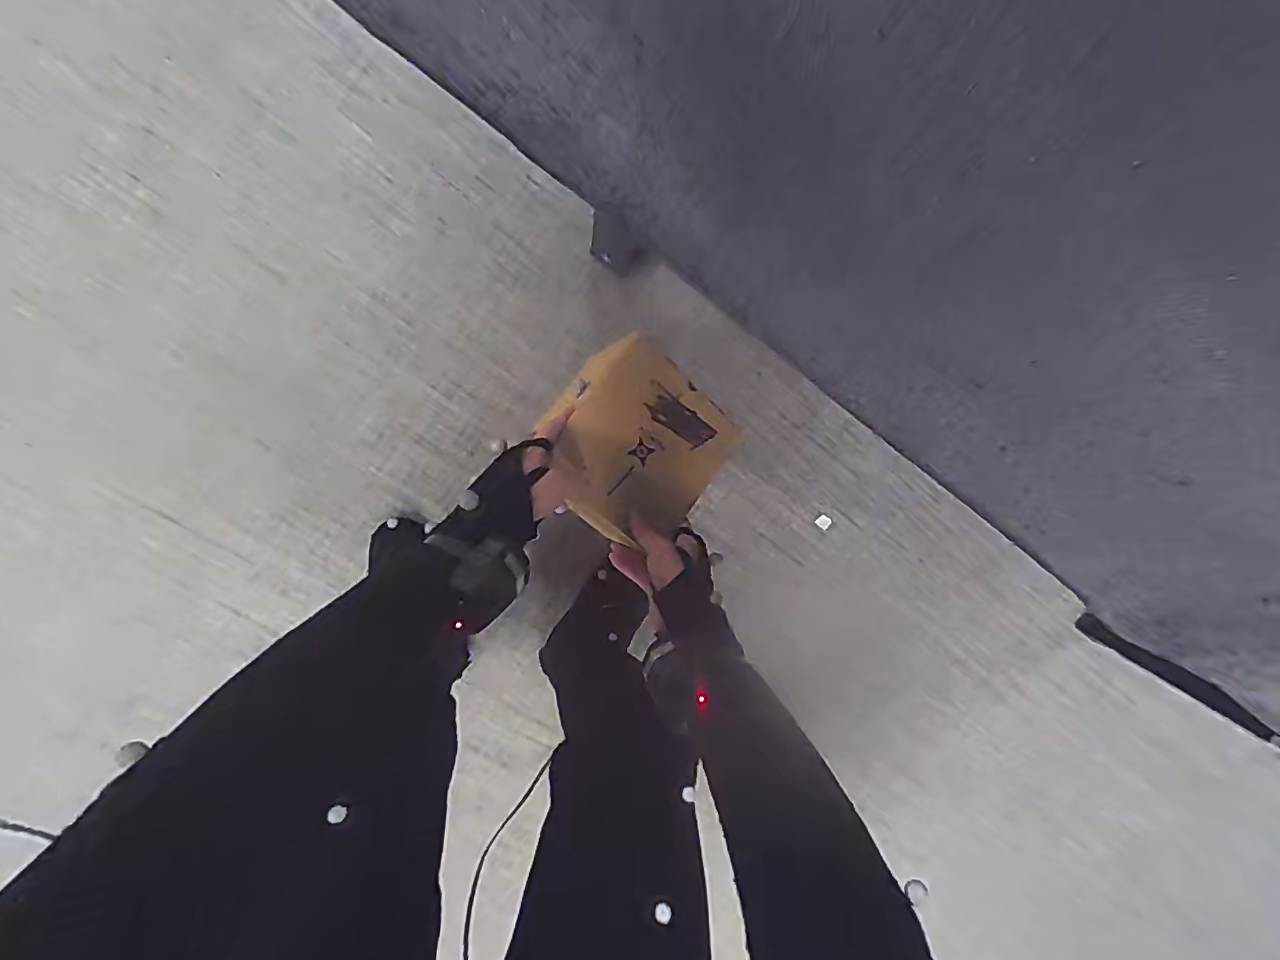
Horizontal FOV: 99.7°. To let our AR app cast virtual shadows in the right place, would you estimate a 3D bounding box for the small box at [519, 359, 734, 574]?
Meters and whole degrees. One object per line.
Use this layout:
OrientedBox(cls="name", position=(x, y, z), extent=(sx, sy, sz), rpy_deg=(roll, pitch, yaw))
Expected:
OrientedBox(cls="small box", position=(-0.027, -0.016, 0.653), extent=(0.168, 0.176, 0.179), rpy_deg=(40, 78, -17))
